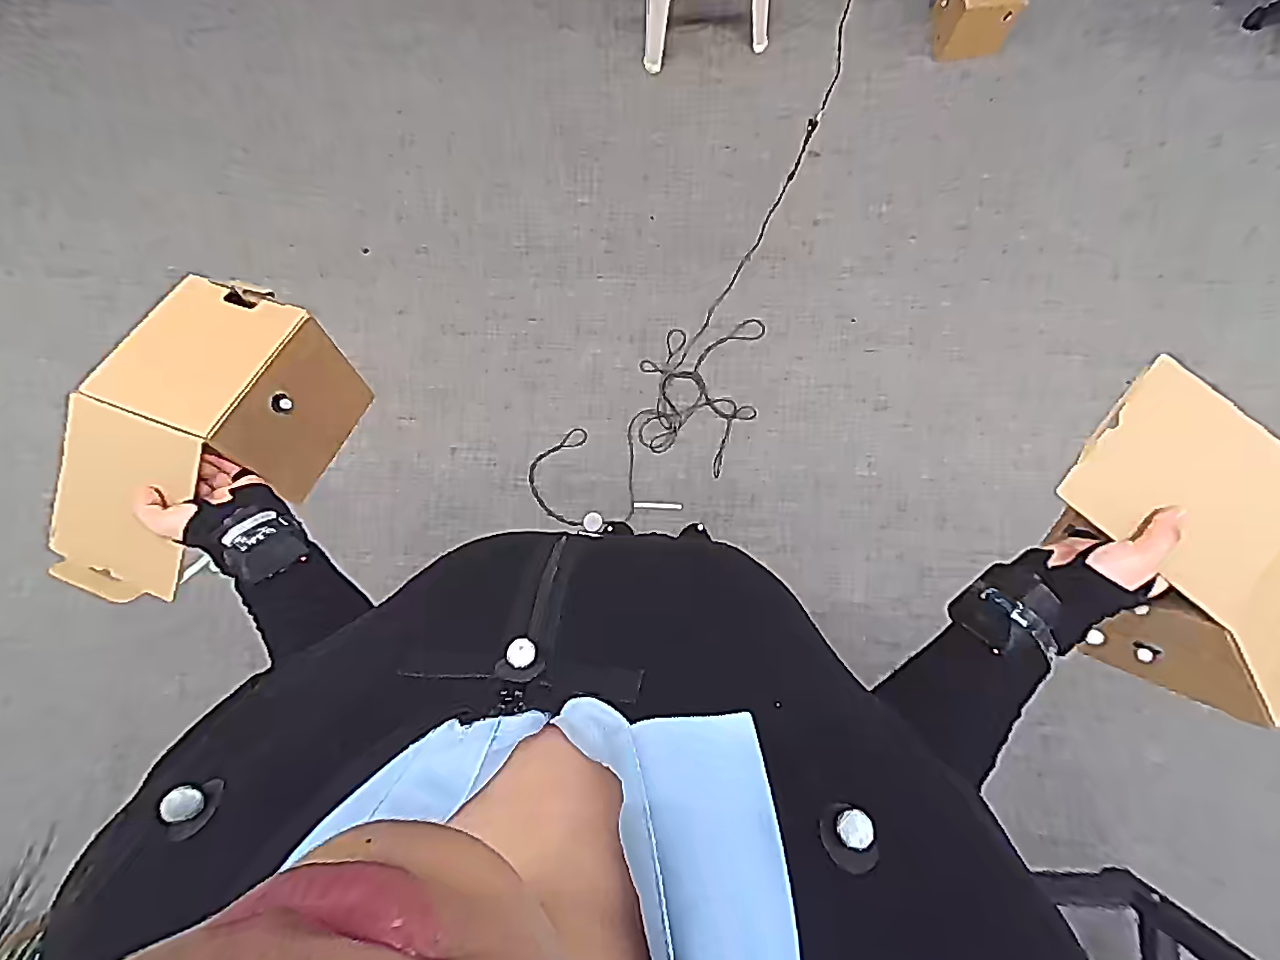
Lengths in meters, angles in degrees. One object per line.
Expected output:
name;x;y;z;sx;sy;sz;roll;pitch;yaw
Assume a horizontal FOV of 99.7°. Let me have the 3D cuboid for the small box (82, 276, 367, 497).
small box;-0.466;-0.102;0.645;0.168;0.176;0.179;19;65;9
